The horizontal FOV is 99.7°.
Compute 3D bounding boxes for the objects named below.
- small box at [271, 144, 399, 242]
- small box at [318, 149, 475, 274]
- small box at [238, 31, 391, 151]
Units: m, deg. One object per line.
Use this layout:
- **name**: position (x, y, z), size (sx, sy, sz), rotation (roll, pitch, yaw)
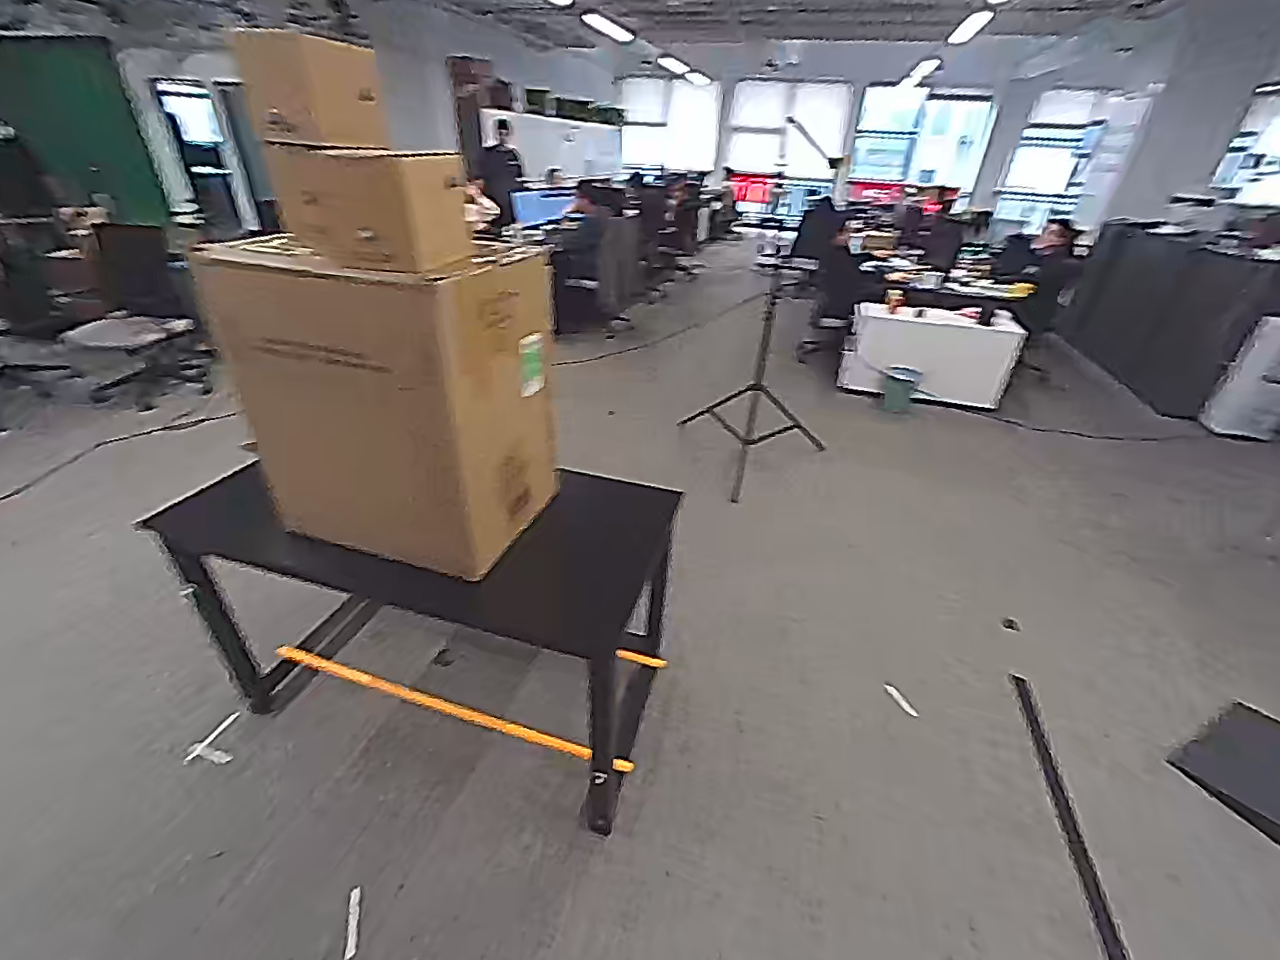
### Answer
- **small box**: position (-0.609, -0.598, 1.126), size (0.168, 0.176, 0.179), rotation (13, 33, 13)
- **small box**: position (-0.398, -0.461, 0.922), size (0.168, 0.176, 0.179), rotation (9, 34, 12)
- **small box**: position (-0.602, -0.729, 1.027), size (0.168, 0.176, 0.179), rotation (13, 33, 15)
